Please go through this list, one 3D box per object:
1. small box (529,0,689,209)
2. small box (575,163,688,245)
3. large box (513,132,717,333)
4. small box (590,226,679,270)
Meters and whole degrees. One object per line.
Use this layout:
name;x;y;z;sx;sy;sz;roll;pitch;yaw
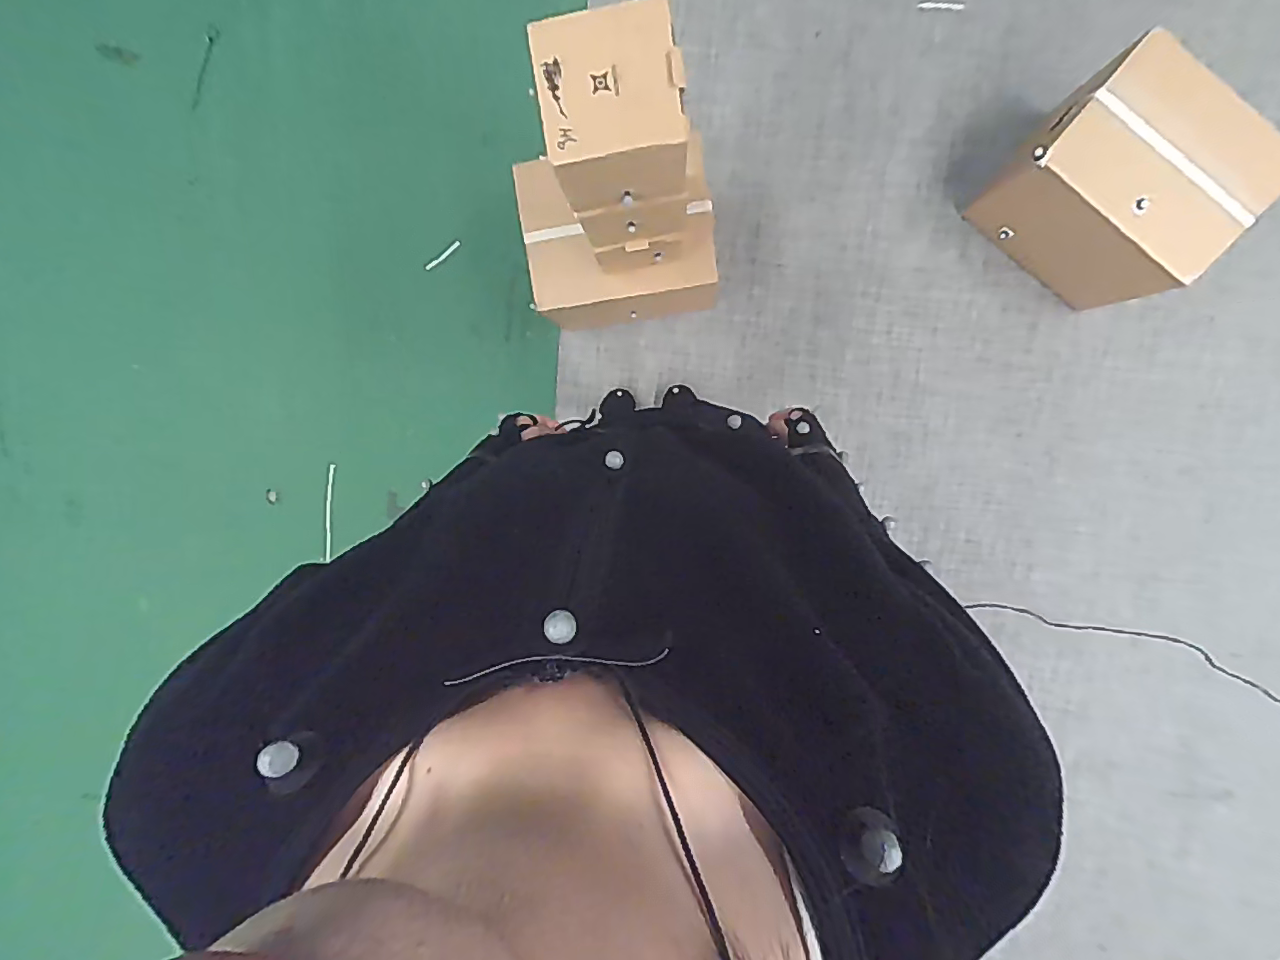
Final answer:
small box;-0.034;-0.488;0.726;0.179;0.176;0.168;-8;96;3
small box;-0.021;-0.506;0.889;0.179;0.176;0.168;-9;96;5
large box;-0.040;-0.557;1.296;0.408;0.320;0.320;-8;95;6
small box;-0.013;-0.522;1.052;0.168;0.176;0.179;-7;96;4
